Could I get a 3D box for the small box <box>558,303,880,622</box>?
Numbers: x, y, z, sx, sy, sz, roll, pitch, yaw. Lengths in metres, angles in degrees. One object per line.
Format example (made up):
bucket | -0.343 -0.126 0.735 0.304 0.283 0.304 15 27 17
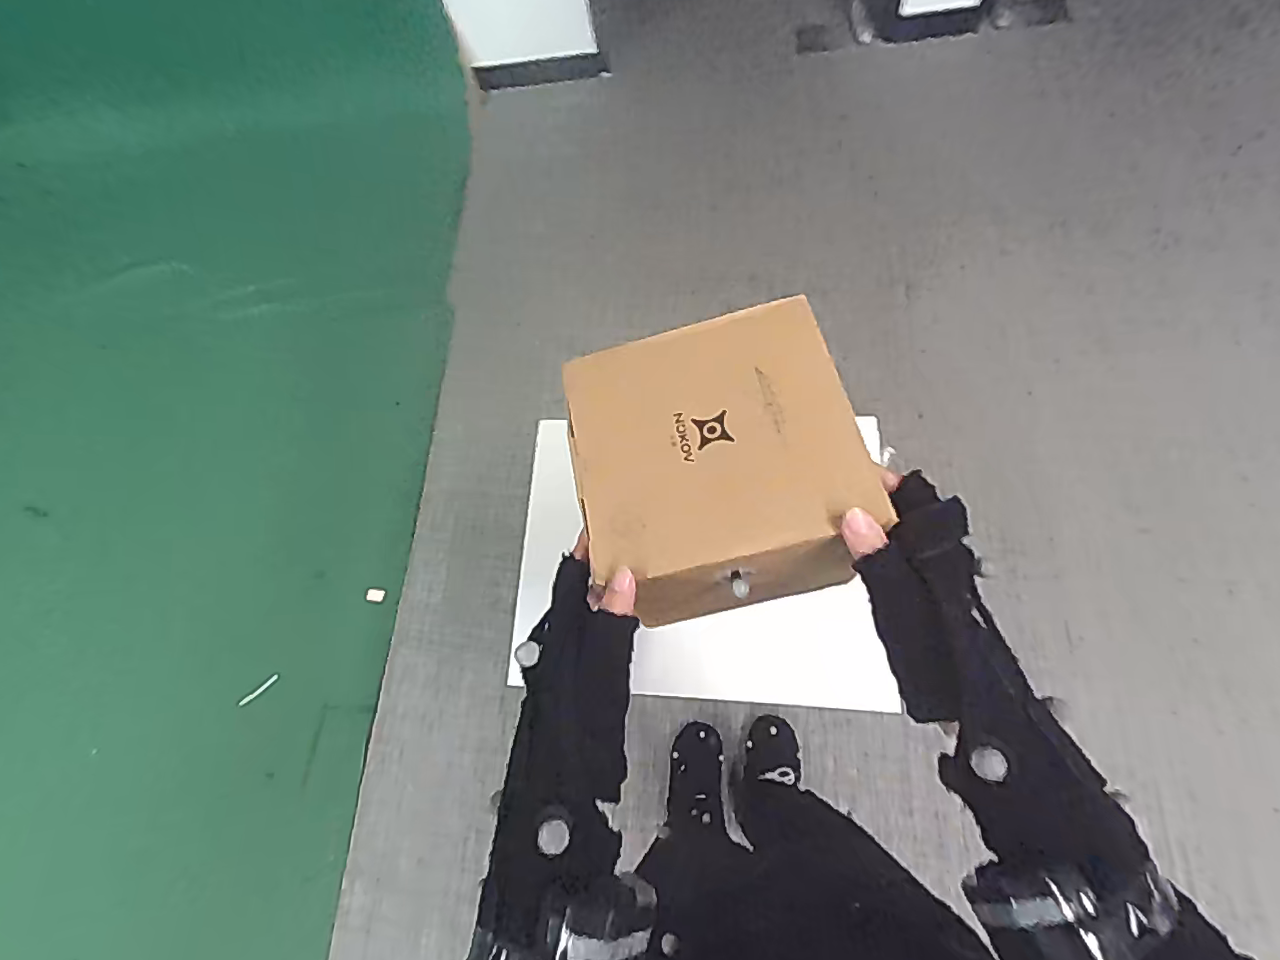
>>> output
small box | 0.054 0.002 0.417 0.179 0.176 0.168 -15 66 5
